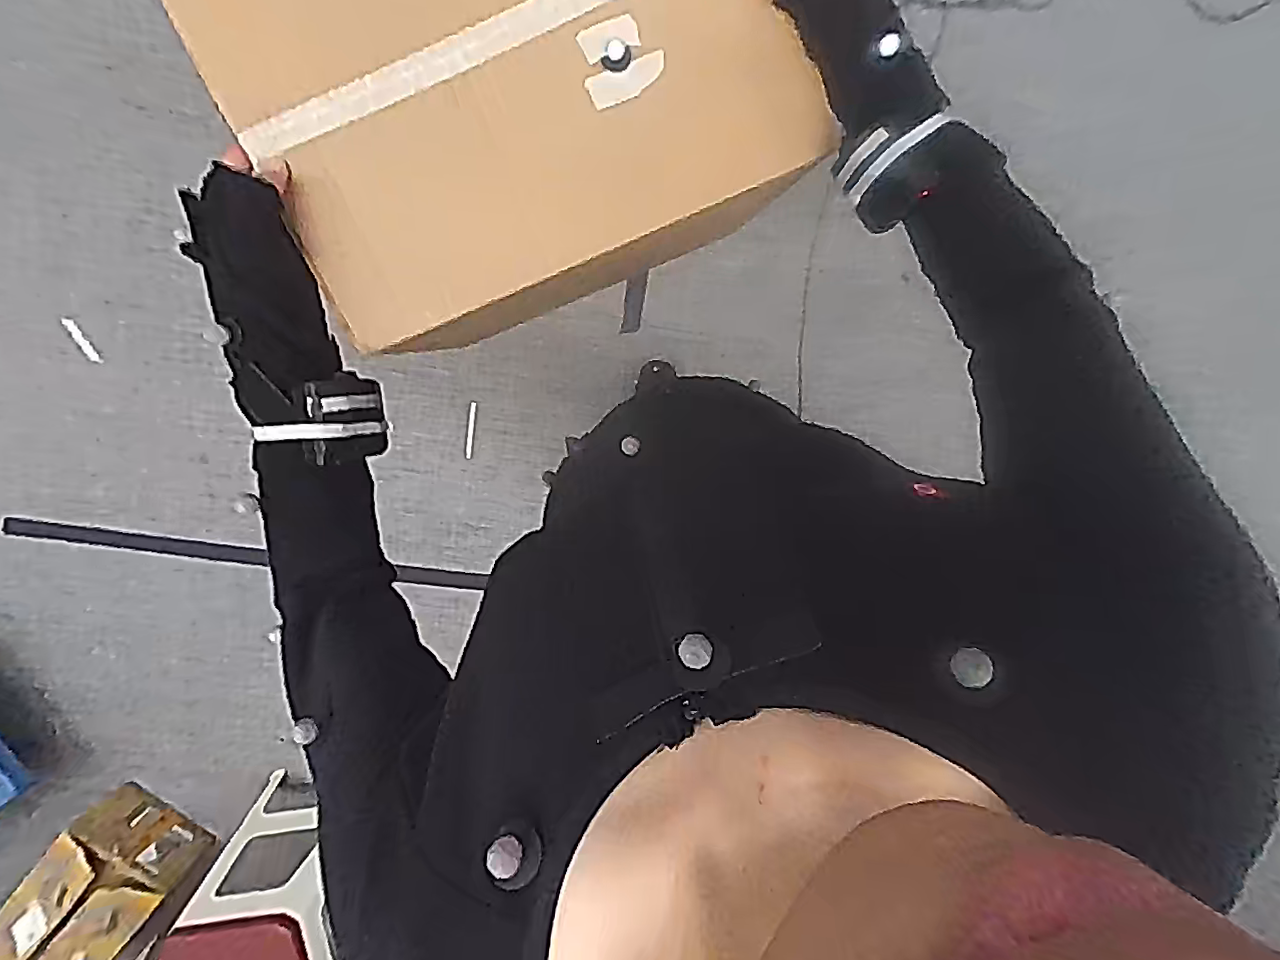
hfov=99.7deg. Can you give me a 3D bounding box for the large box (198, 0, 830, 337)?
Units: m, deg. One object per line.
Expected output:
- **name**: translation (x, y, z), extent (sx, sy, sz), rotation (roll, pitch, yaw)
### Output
- **large box**: translation (-0.100, -0.363, 0.532), extent (0.408, 0.320, 0.320), rotation (-22, 105, 2)
